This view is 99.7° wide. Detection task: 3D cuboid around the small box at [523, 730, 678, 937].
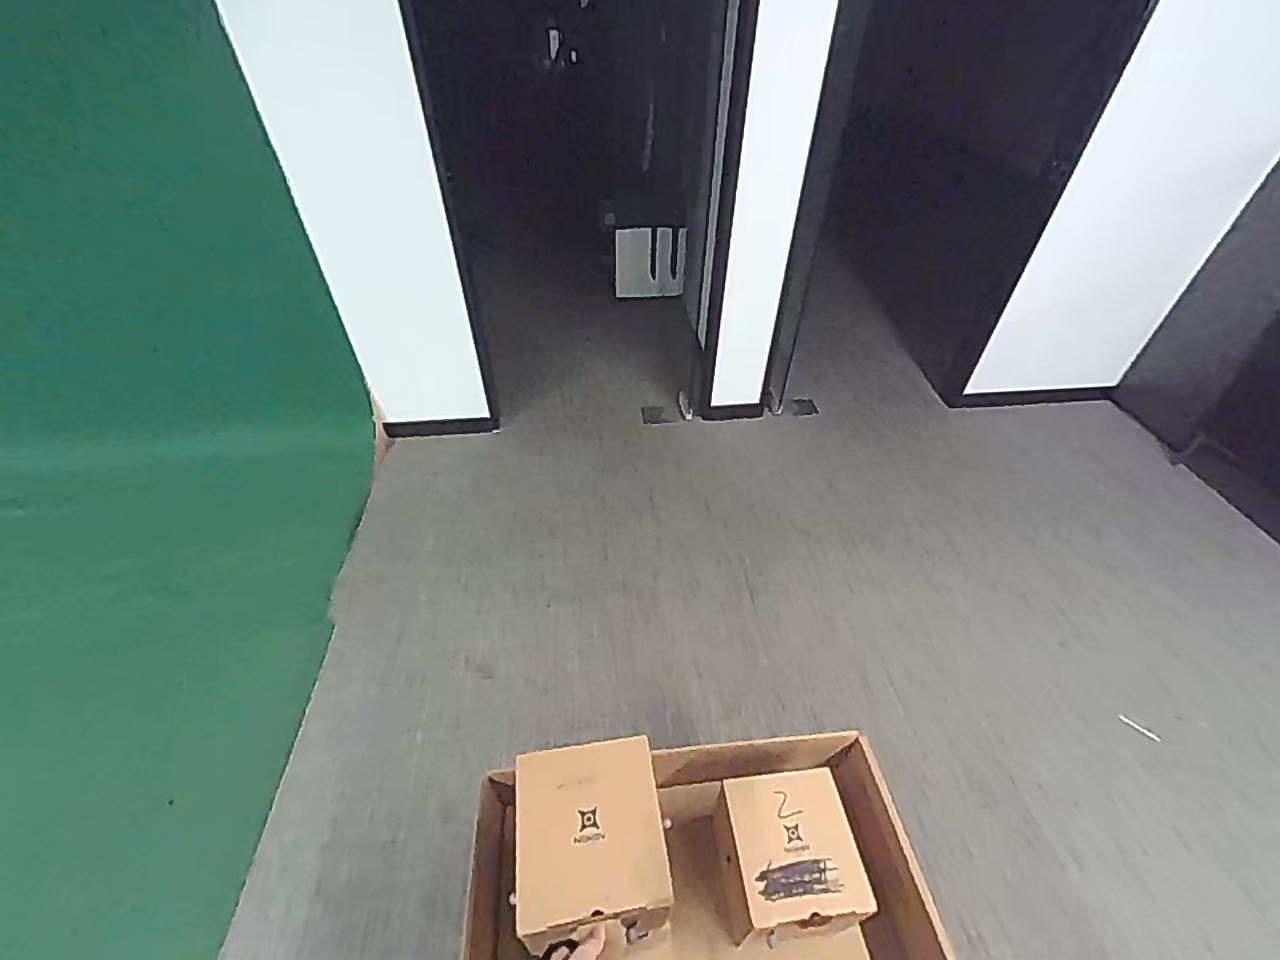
[{"bbox_3d":[-0.052,0.441,0.672,0.168,0.176,0.179,-6,45,-8],"label":"small box"}]
